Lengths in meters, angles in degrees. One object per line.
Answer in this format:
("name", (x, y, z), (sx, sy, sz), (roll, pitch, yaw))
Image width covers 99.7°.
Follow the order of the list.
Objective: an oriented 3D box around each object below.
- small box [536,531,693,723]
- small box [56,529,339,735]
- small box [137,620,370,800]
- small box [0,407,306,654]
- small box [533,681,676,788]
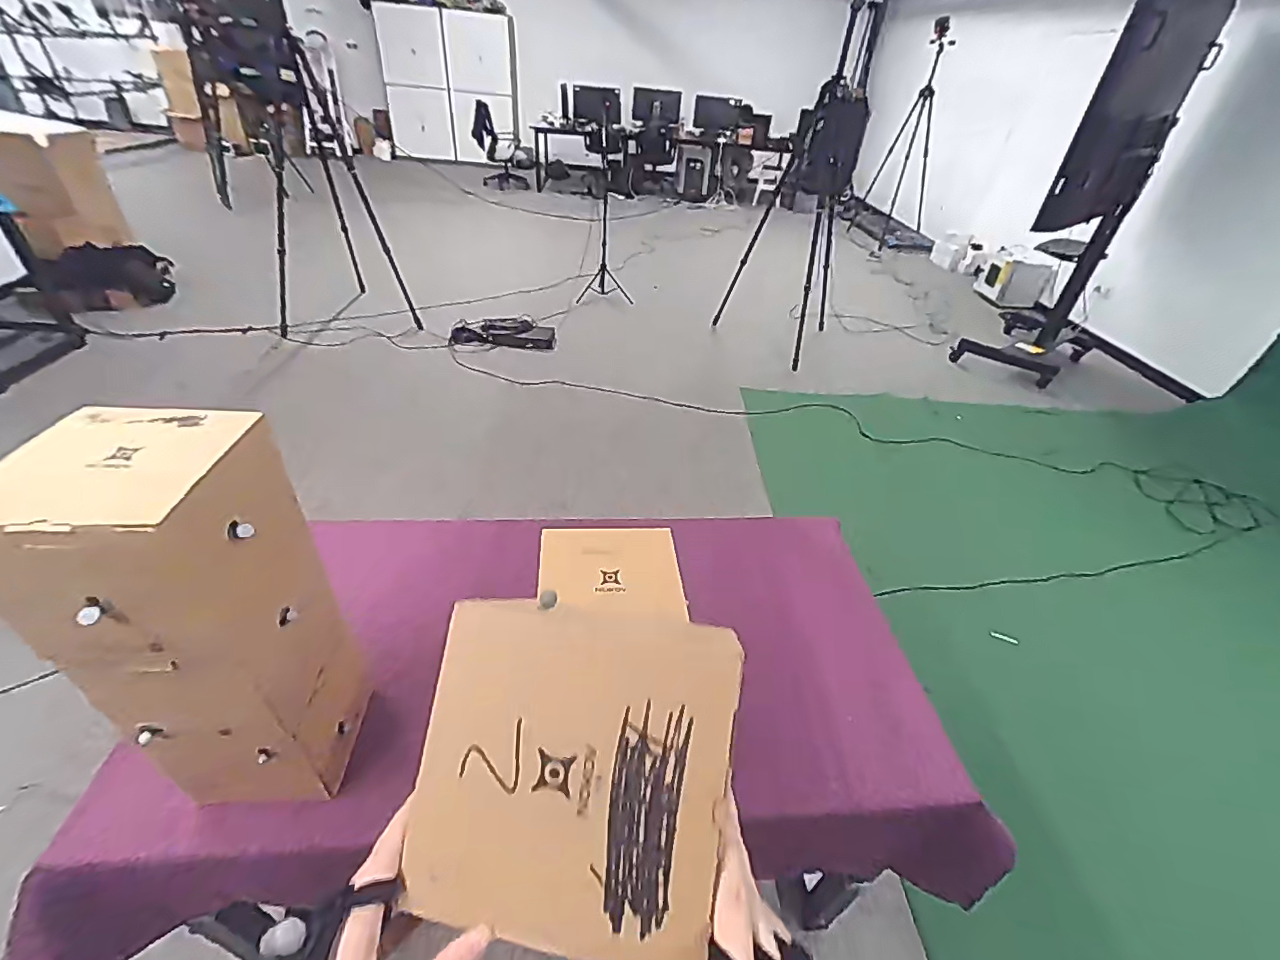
("small box", (-0.036, 0.182, 0.667), (0.168, 0.176, 0.179), (1, 37, -7))
("small box", (-0.474, 0.175, 0.622), (0.168, 0.176, 0.179), (1, 36, -7))
("small box", (-0.488, 0.305, 0.720), (0.179, 0.176, 0.168), (2, 38, -7))
("small box", (-0.453, 0.049, 0.517), (0.168, 0.176, 0.179), (2, 38, -7))
("small box", (-0.050, 0.314, 0.762), (0.179, 0.176, 0.168), (2, 38, -5))
